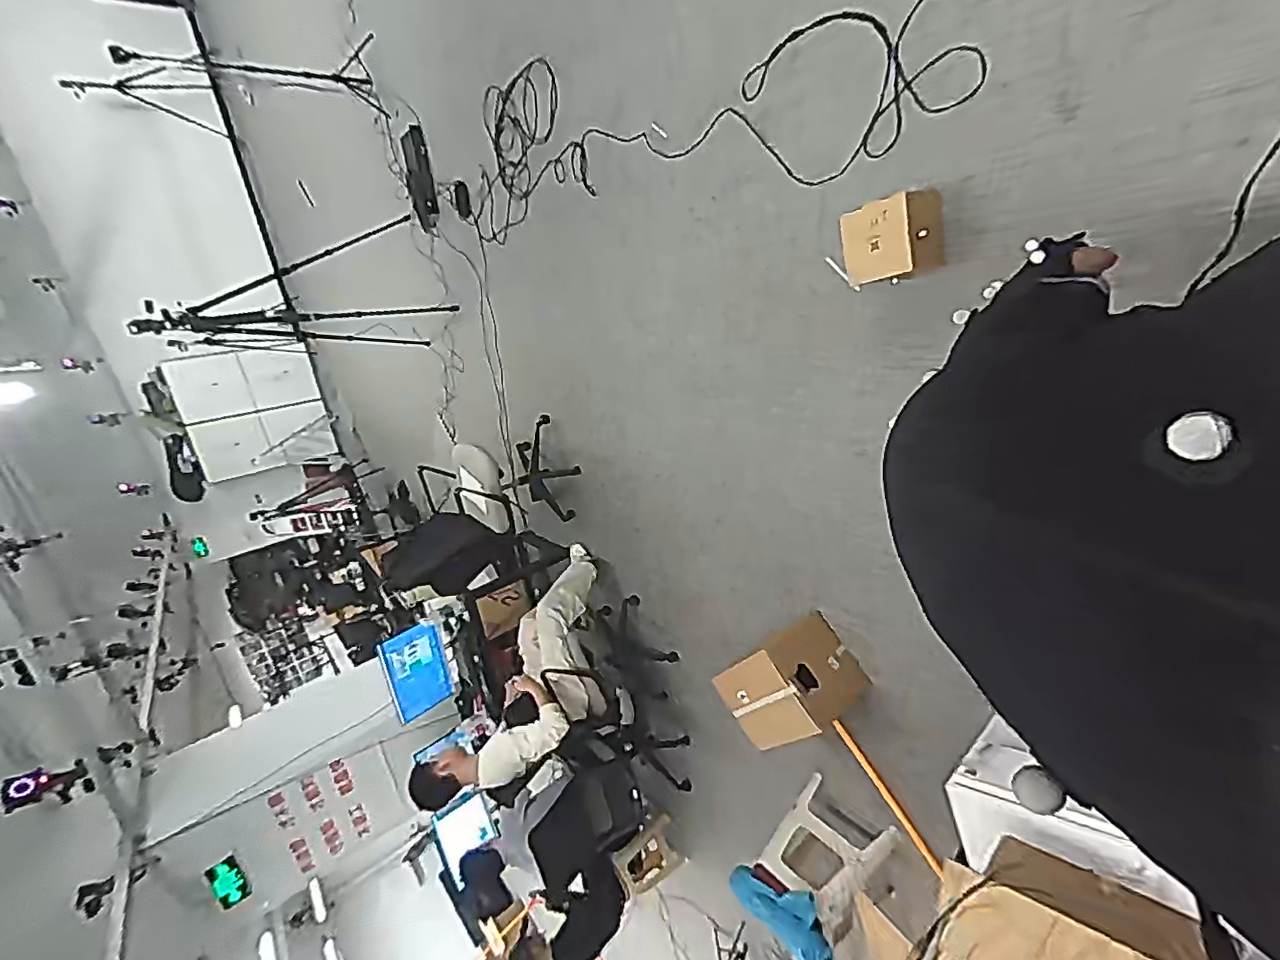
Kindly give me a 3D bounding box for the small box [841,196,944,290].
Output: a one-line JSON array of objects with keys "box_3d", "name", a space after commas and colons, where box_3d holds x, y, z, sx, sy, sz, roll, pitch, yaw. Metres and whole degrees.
[{"box_3d": [0.626, -0.583, 1.332, 0.168, 0.176, 0.179, 4, 110, 53], "name": "small box"}]
